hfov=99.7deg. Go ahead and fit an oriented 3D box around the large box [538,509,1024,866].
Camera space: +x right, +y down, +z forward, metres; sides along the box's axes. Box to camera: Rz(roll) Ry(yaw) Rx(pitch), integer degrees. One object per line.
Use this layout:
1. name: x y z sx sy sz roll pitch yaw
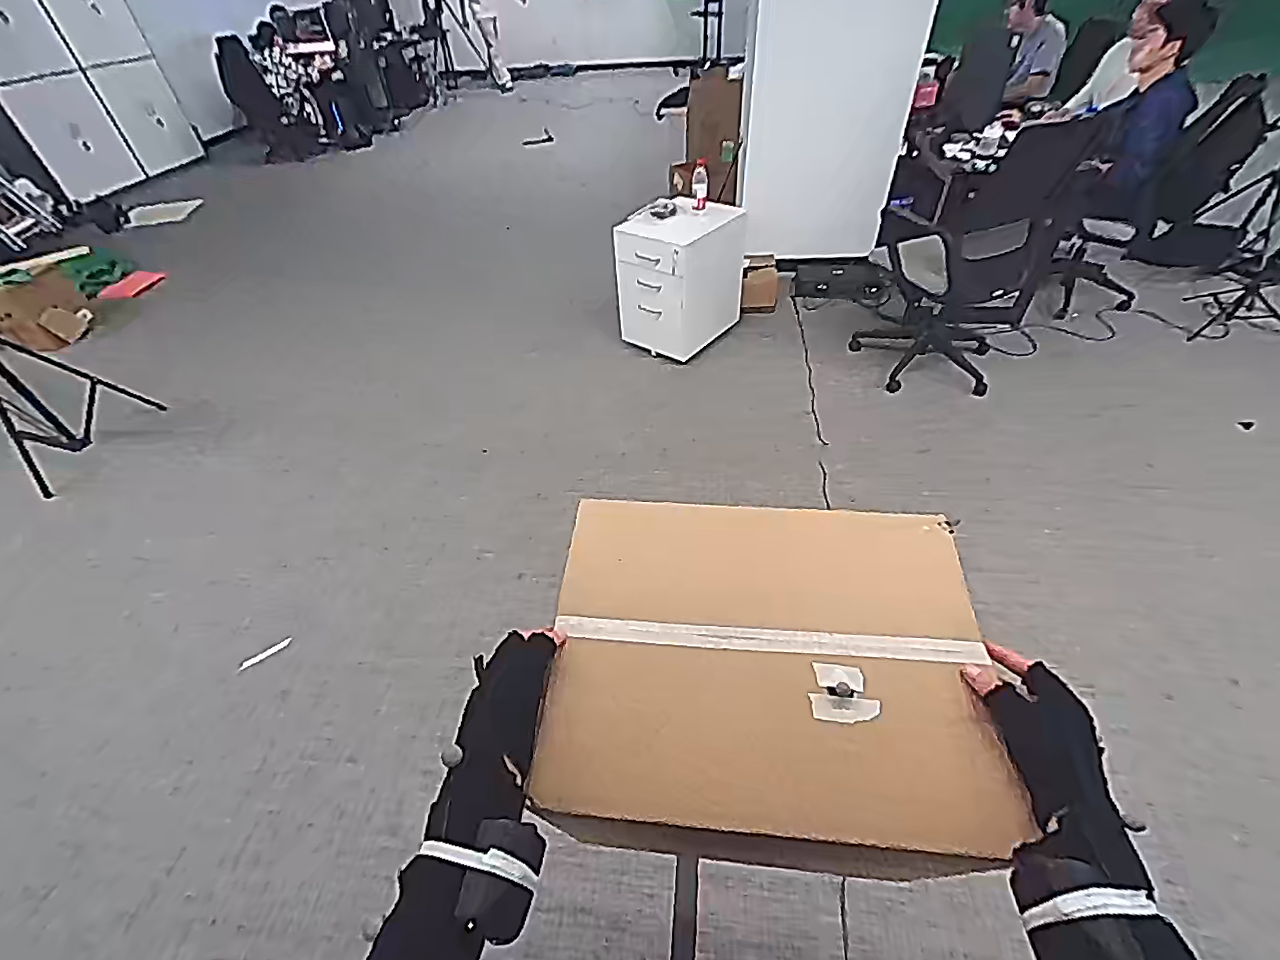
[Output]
1. large box: 0.127 0.251 0.649 0.408 0.320 0.320 2 53 6
